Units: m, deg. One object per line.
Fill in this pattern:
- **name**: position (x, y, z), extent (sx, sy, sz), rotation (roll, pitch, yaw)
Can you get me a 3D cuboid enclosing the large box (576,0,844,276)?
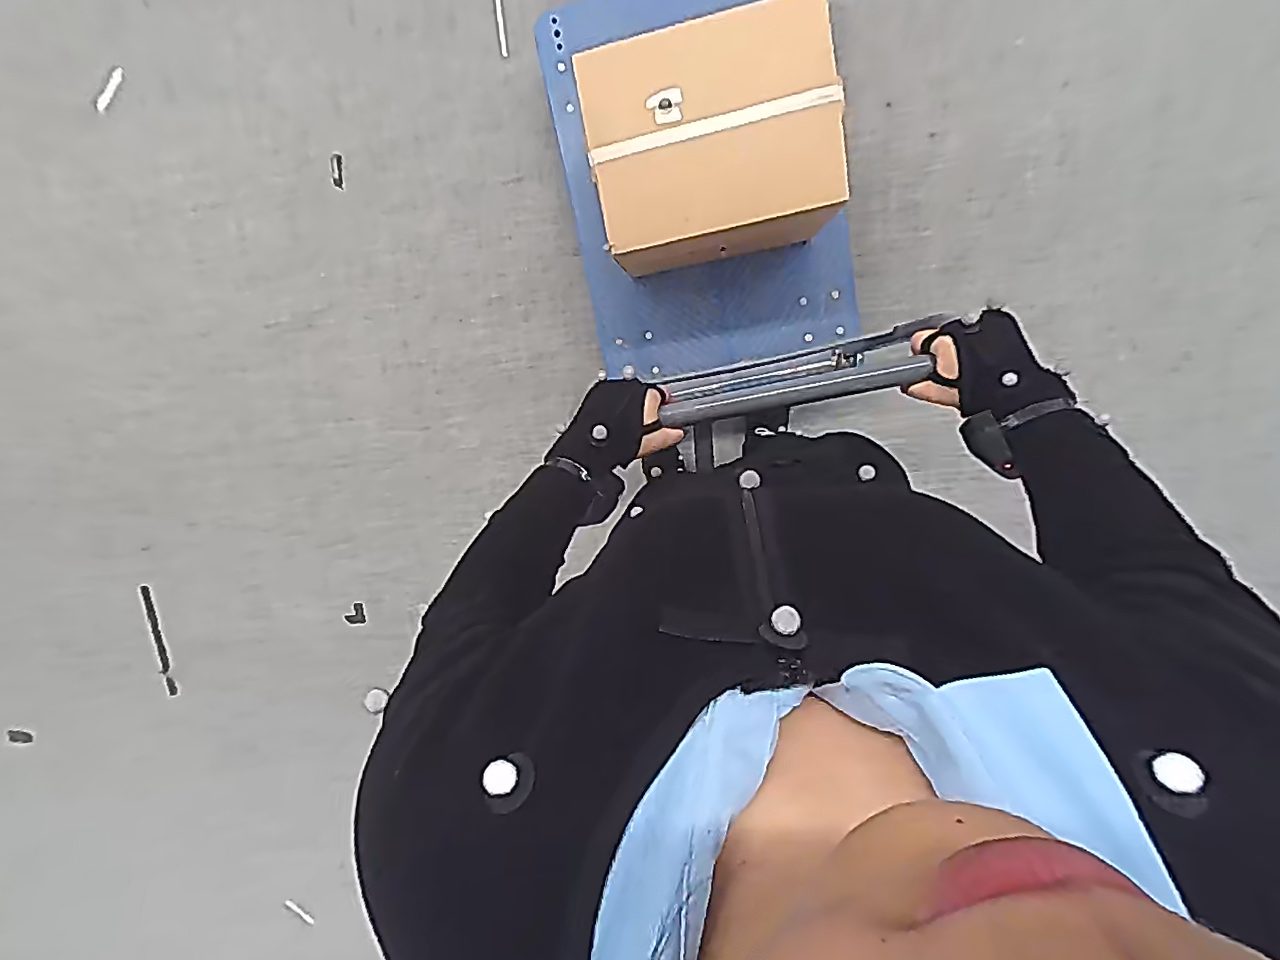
- **large box**: position (0.134, -0.614, 1.042), extent (0.408, 0.320, 0.320), rotation (-10, 101, 9)
